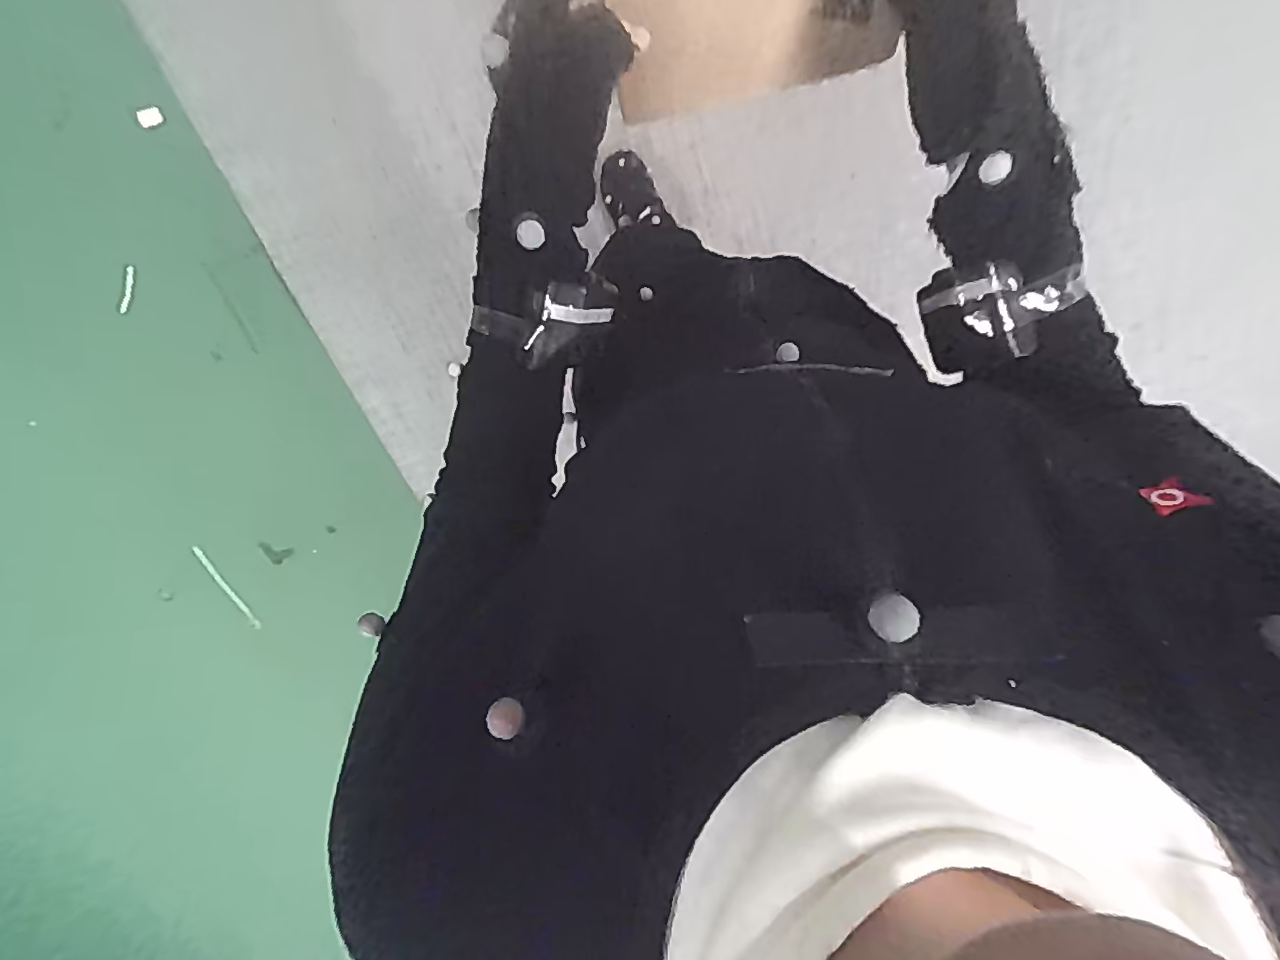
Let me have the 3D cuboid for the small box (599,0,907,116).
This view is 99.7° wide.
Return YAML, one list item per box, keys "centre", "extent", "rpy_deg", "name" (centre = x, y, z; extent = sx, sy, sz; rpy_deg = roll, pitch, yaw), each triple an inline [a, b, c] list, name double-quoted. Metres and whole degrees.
- centre: [0.054, -0.356, 0.306]
  extent: [0.179, 0.176, 0.168]
  rpy_deg: [-10, 156, 3]
  name: "small box"
